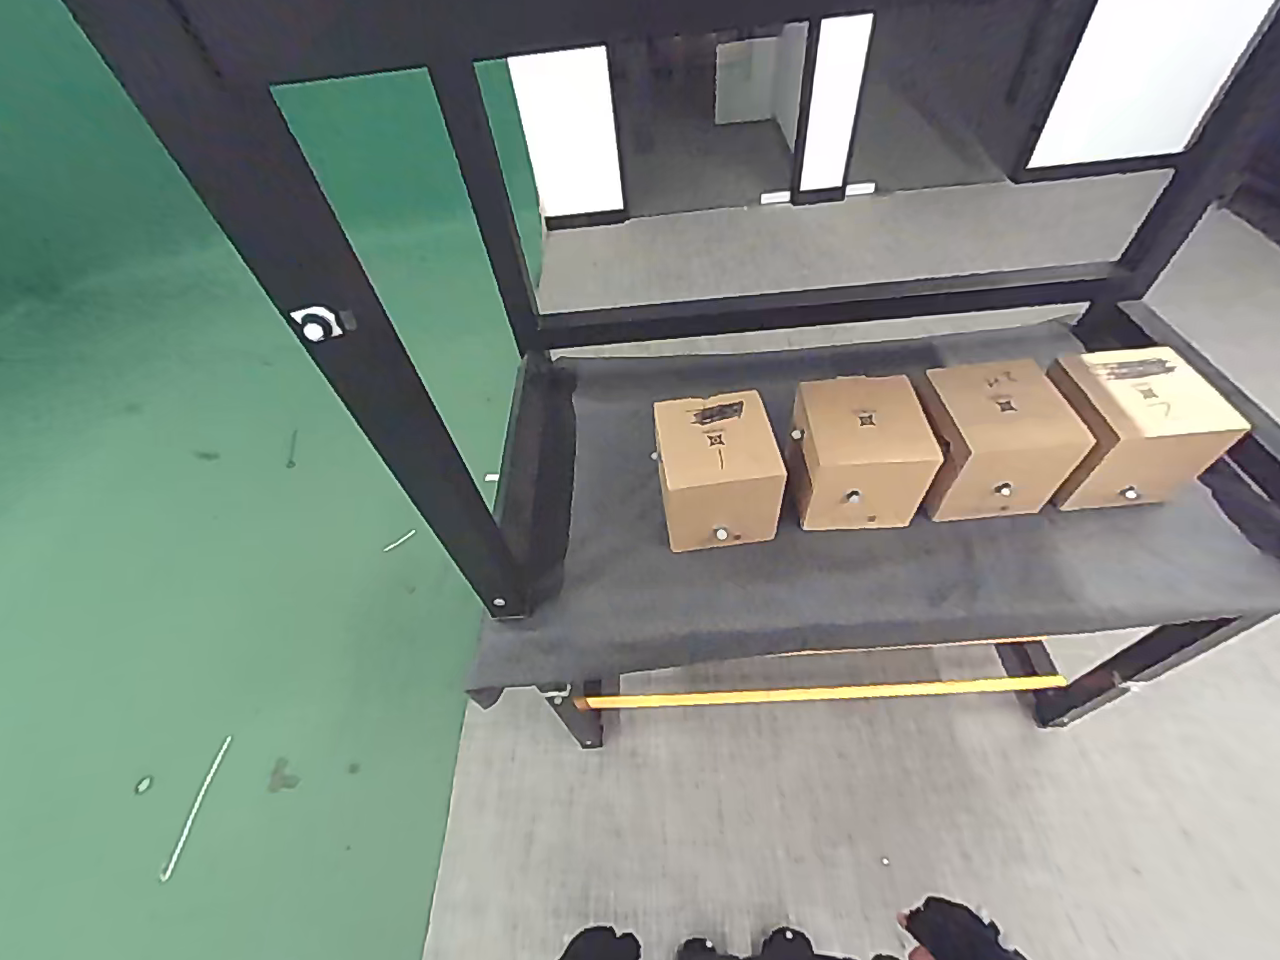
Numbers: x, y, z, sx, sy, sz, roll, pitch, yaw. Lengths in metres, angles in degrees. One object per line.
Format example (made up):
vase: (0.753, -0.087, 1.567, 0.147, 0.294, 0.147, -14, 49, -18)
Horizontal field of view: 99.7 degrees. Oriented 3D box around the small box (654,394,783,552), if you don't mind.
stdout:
small box: (0.115, -0.010, 0.858, 0.168, 0.176, 0.179, -8, 51, 0)
